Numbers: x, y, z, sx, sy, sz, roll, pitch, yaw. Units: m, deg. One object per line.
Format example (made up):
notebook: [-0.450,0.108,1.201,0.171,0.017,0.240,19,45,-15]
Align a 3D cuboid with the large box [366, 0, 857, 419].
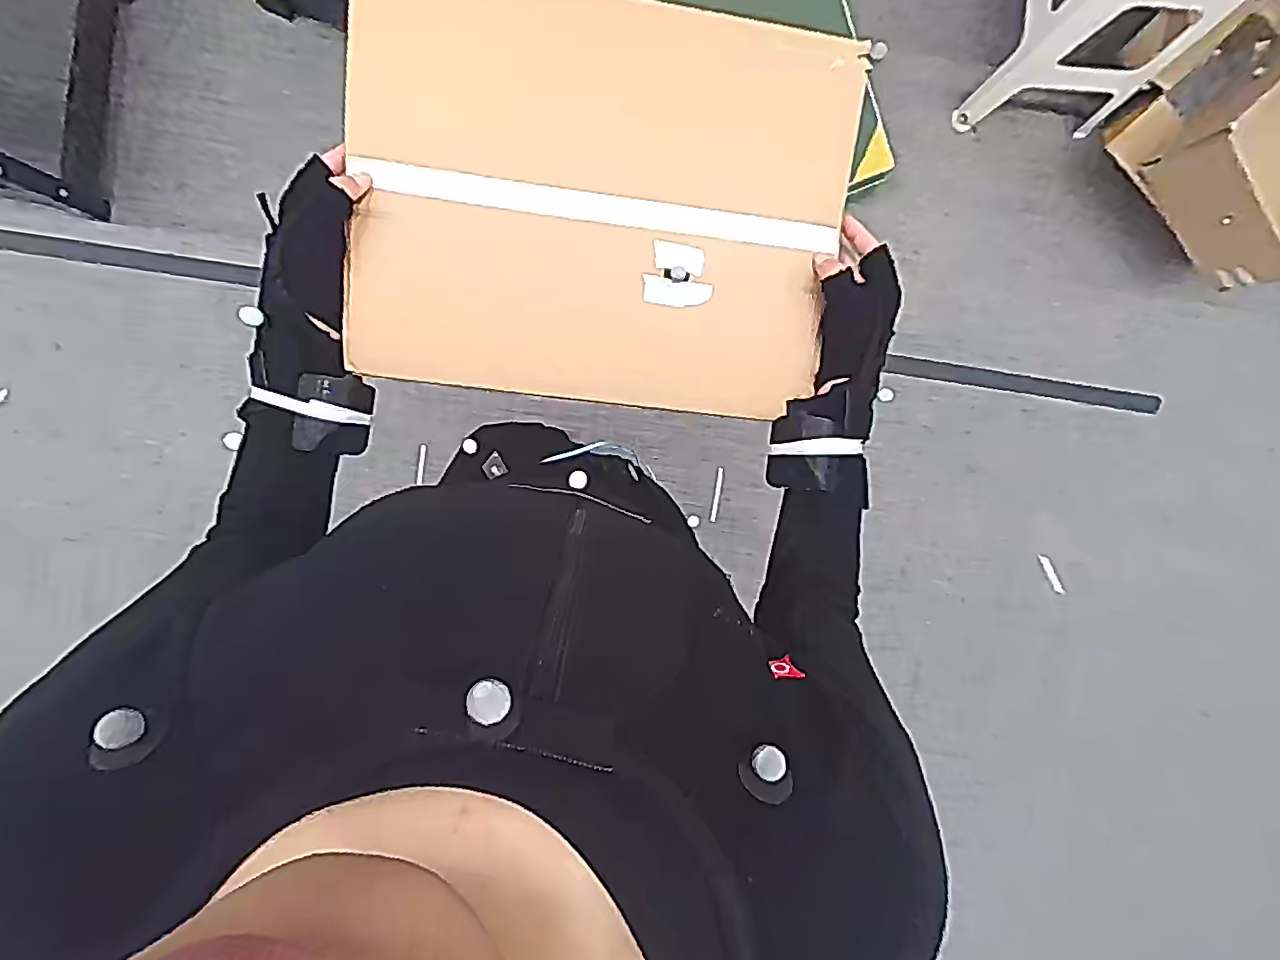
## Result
large box: [-0.042,-0.249,0.607,0.408,0.320,0.320,6,101,-7]
